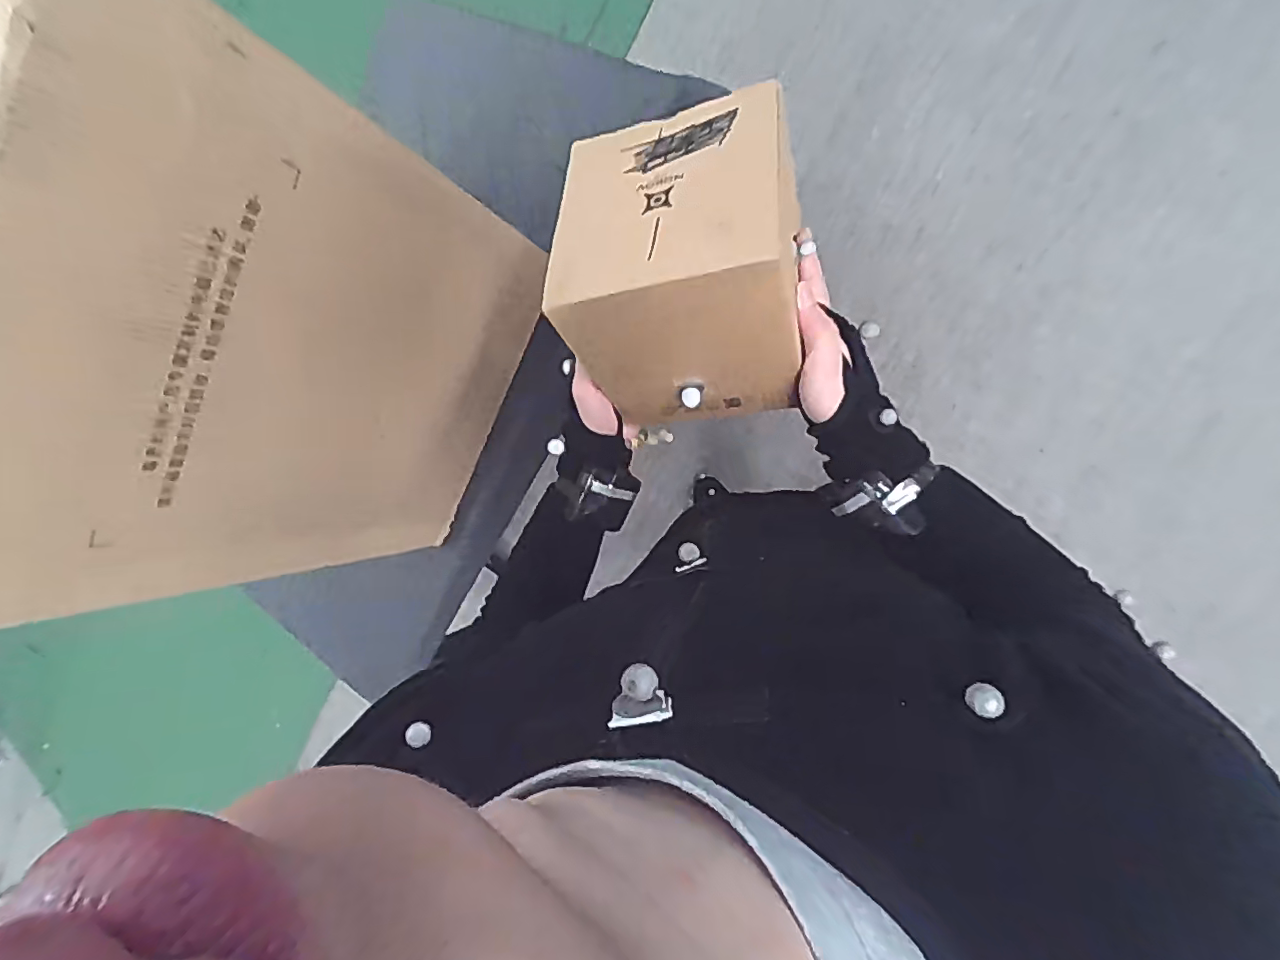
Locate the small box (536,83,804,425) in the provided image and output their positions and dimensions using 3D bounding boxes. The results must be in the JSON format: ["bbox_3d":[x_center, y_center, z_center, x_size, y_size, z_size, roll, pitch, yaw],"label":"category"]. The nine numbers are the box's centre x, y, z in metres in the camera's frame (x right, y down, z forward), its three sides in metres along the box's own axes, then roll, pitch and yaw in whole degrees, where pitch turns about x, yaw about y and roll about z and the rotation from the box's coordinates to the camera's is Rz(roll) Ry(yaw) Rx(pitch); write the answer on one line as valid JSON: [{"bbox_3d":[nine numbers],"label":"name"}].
[{"bbox_3d":[0.040,-0.167,0.446,0.168,0.176,0.179,-5,65,22],"label":"small box"}]
